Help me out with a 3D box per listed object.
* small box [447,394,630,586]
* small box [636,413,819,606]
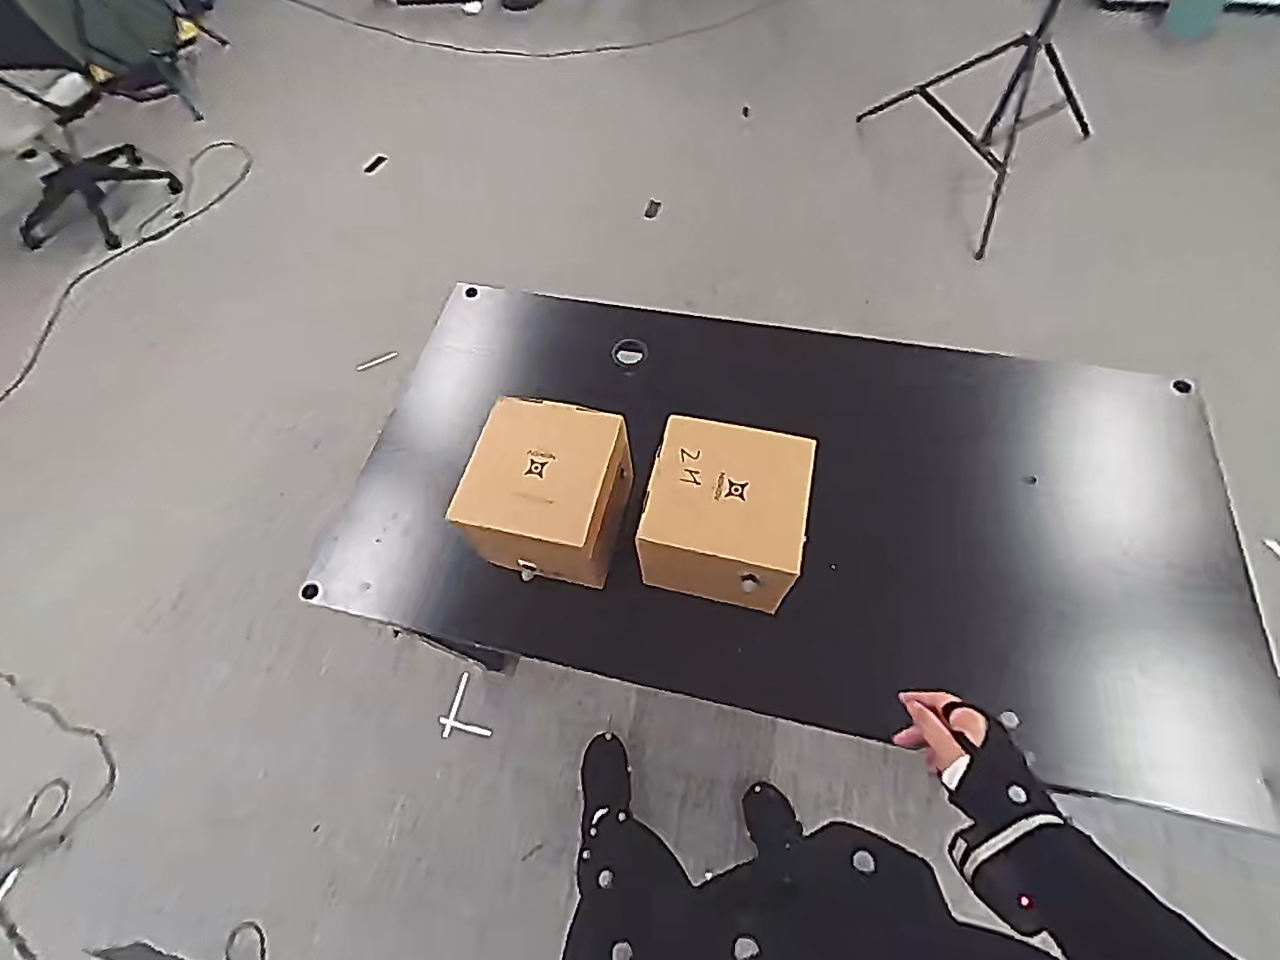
[{"bbox_3d":[-0.113,0.018,0.692,0.168,0.176,0.179,9,65,10],"label":"small box"},{"bbox_3d":[0.104,0.044,0.662,0.179,0.176,0.168,11,64,9],"label":"small box"}]
